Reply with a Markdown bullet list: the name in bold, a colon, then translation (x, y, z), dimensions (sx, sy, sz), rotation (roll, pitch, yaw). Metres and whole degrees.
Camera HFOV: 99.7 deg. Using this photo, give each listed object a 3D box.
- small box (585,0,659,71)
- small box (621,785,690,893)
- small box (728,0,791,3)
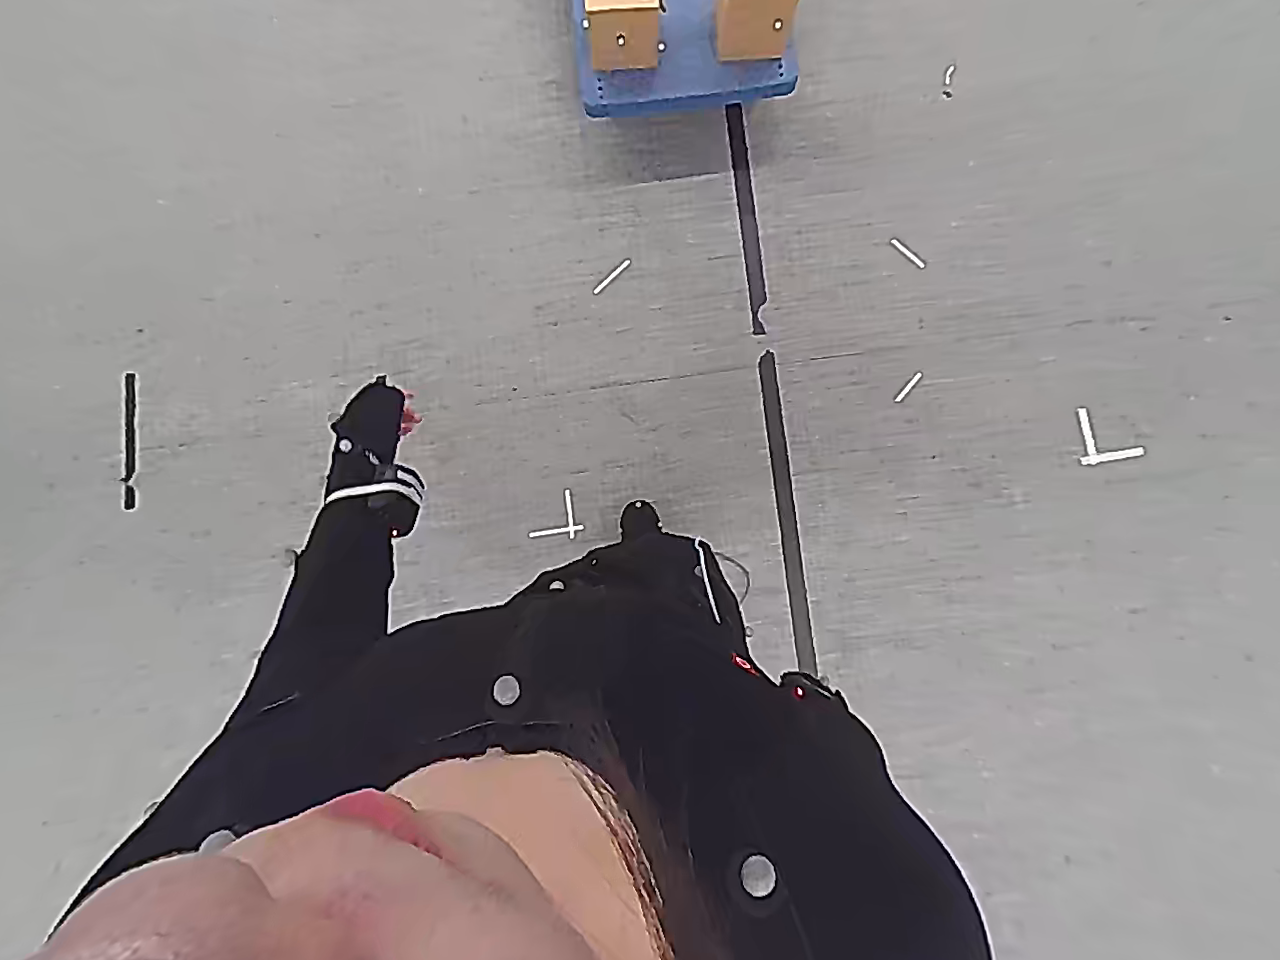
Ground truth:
- **small box**: translation (-0.043, -1.171, 1.356), dimensions (0.179, 0.176, 0.168), rotation (-3, 84, 2)
- **small box**: translation (0.038, 0.894, 1.363), dimensions (0.168, 0.176, 0.179), rotation (0, 86, 2)
- **small box**: translation (0.280, -1.200, 1.189), dimensions (0.179, 0.176, 0.168), rotation (-1, 84, 0)
